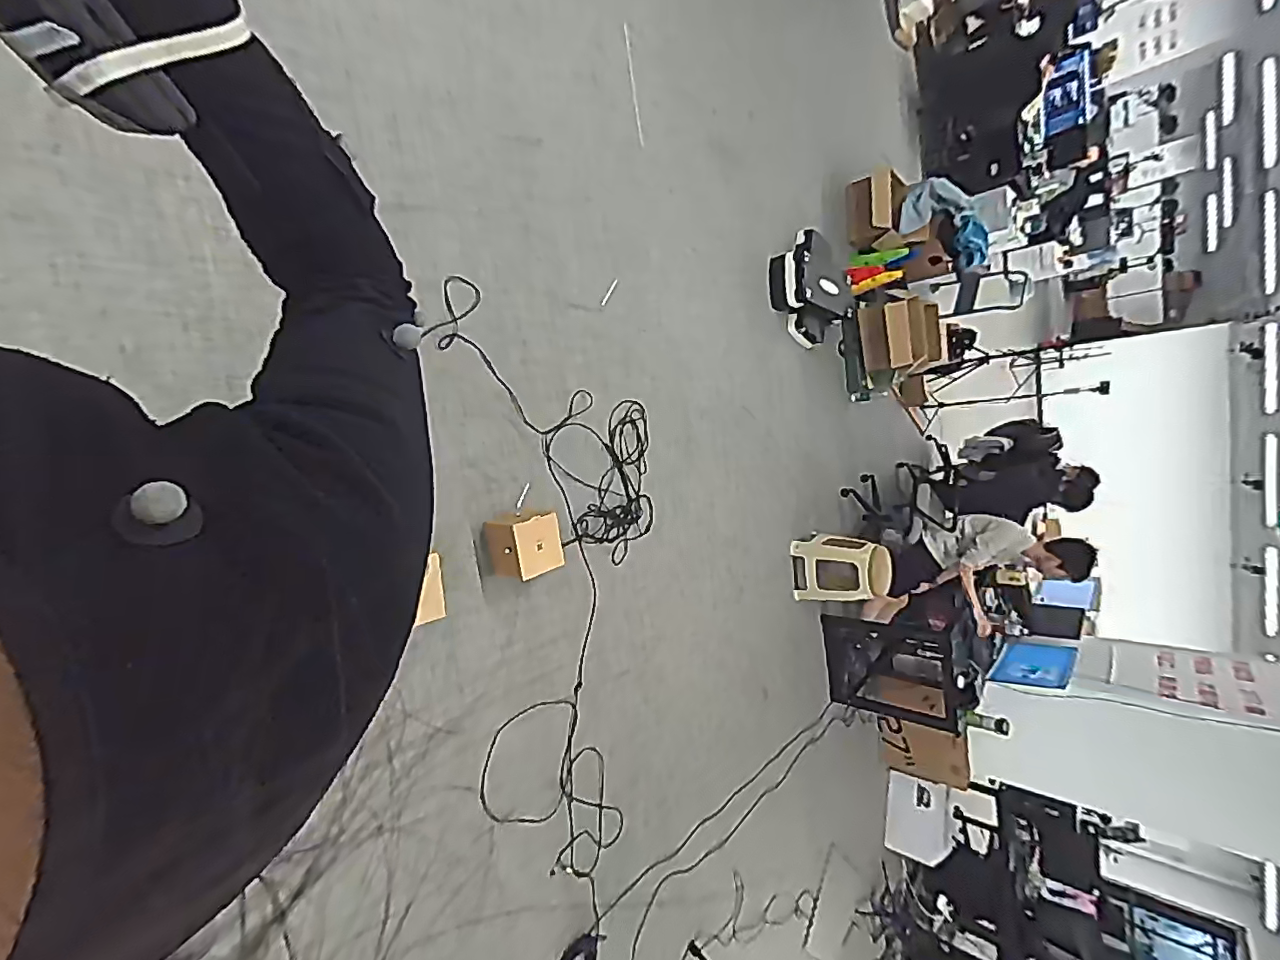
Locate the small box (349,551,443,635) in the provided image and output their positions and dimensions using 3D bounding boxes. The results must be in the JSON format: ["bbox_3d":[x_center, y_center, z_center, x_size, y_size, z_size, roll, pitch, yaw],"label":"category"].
[{"bbox_3d":[-0.641,0.286,1.414,0.168,0.176,0.179,-9,96,-47],"label":"small box"}]

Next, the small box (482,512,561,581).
[{"bbox_3d":[-0.375,0.203,1.705,0.168,0.176,0.179,-17,100,-46],"label":"small box"}]
